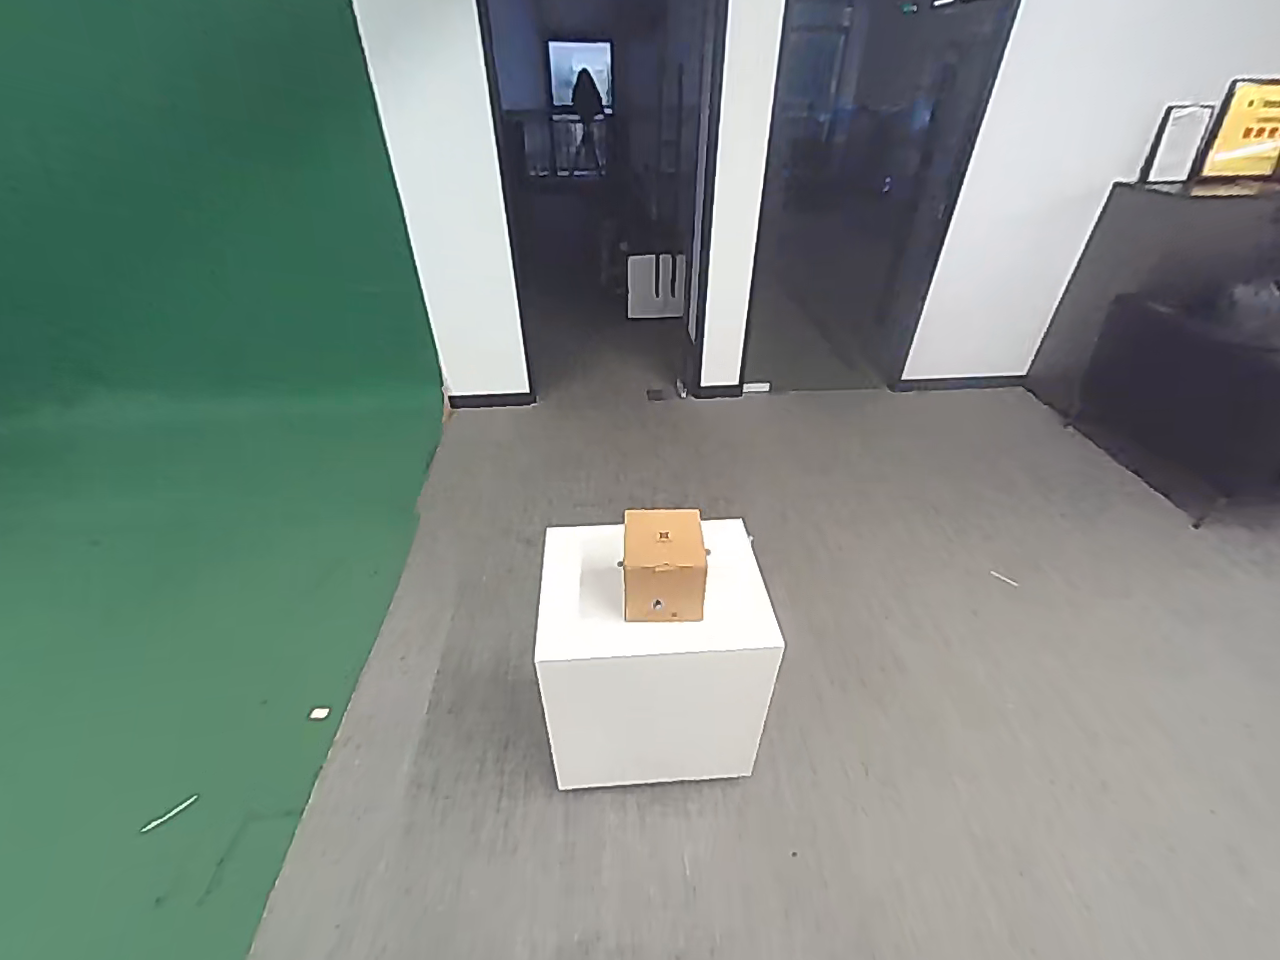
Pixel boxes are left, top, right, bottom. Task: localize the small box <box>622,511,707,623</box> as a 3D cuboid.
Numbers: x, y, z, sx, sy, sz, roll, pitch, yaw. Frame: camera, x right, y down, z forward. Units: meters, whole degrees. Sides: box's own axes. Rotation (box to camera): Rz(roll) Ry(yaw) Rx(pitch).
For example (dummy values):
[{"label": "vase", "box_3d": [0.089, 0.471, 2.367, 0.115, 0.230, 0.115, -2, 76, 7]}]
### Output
[{"label": "small box", "box_3d": [0.046, 0.184, 1.155, 0.168, 0.176, 0.179, -1, 36, -1]}]
